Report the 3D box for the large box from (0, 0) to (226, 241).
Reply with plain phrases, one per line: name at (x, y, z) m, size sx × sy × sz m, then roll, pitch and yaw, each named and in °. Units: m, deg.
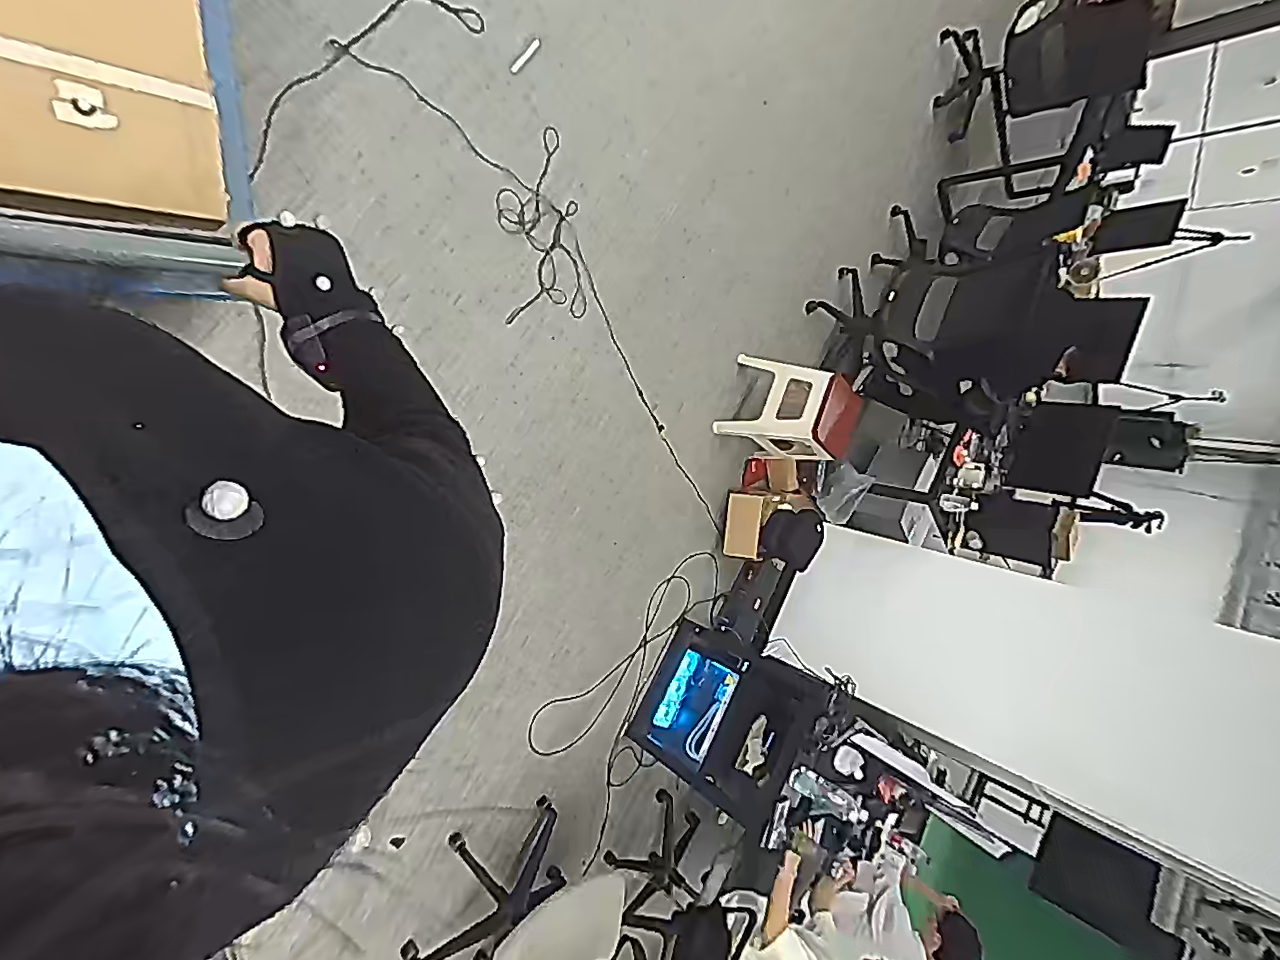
large box at (-0.860, -0.535, 0.735) m, size 0.408 × 0.320 × 0.320 m, roll -12°, pitch 109°, yaw -44°
